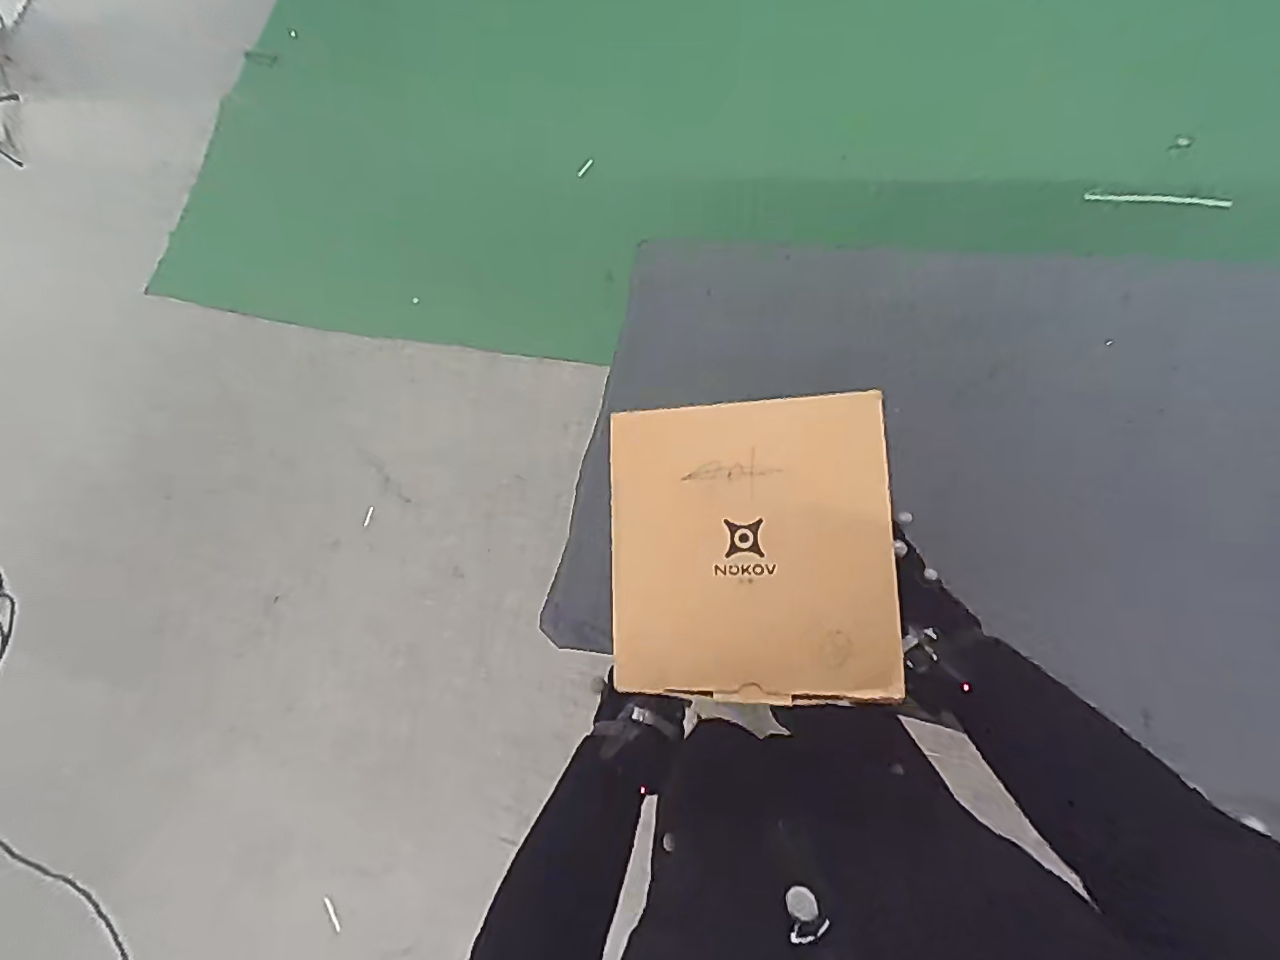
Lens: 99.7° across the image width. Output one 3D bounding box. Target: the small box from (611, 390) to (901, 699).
[{"bbox_3d":[0.080,0.047,0.398,0.168,0.176,0.179,-3,81,12],"label":"small box"}]
